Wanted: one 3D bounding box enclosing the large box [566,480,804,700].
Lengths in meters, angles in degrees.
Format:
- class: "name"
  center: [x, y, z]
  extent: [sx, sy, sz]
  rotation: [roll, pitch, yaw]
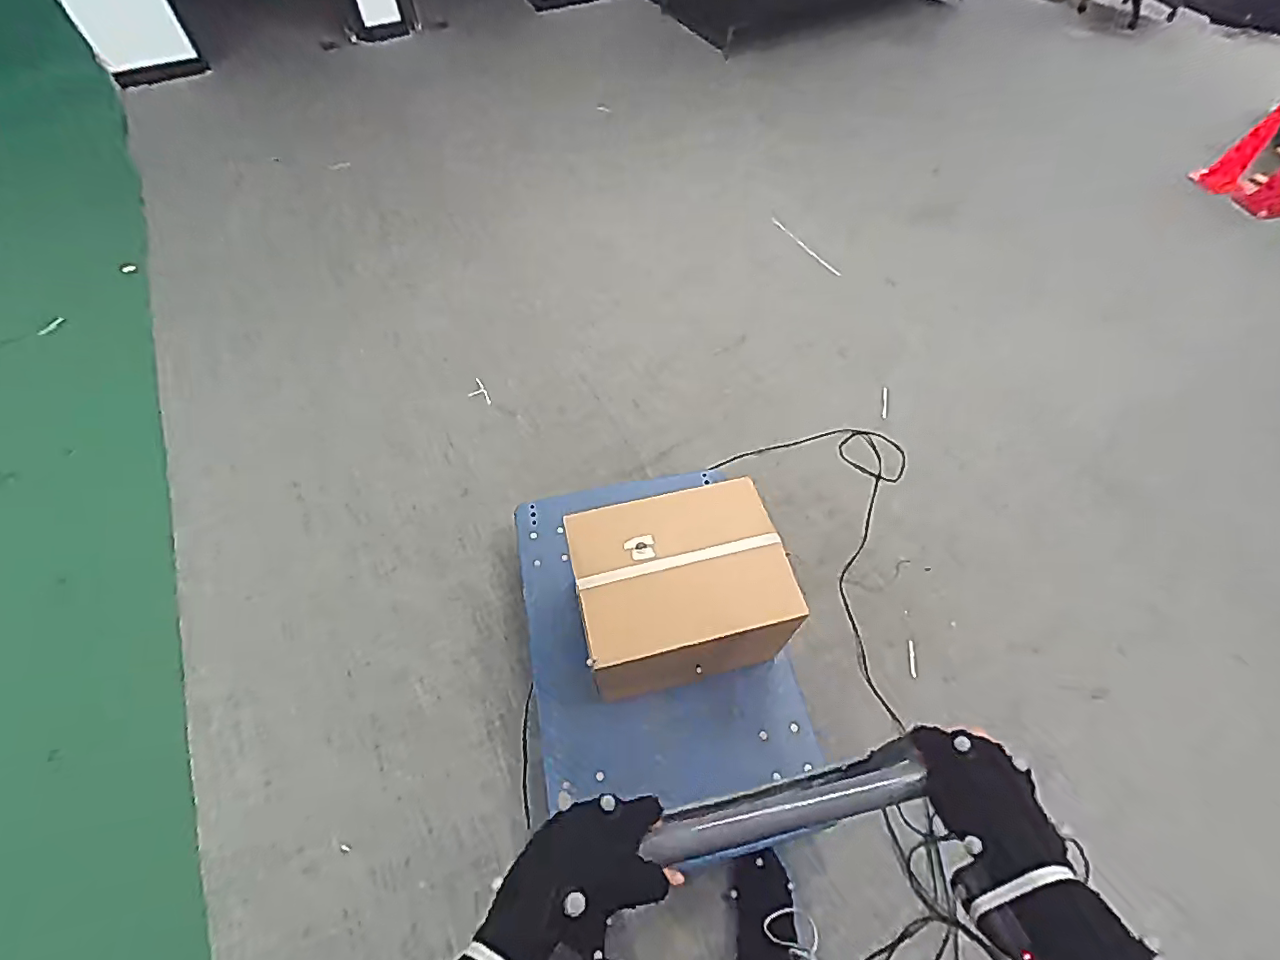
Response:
- class: "large box"
  center: [0.082, 0.247, 1.176]
  extent: [0.408, 0.320, 0.320]
  rotation: [-13, 58, -7]
